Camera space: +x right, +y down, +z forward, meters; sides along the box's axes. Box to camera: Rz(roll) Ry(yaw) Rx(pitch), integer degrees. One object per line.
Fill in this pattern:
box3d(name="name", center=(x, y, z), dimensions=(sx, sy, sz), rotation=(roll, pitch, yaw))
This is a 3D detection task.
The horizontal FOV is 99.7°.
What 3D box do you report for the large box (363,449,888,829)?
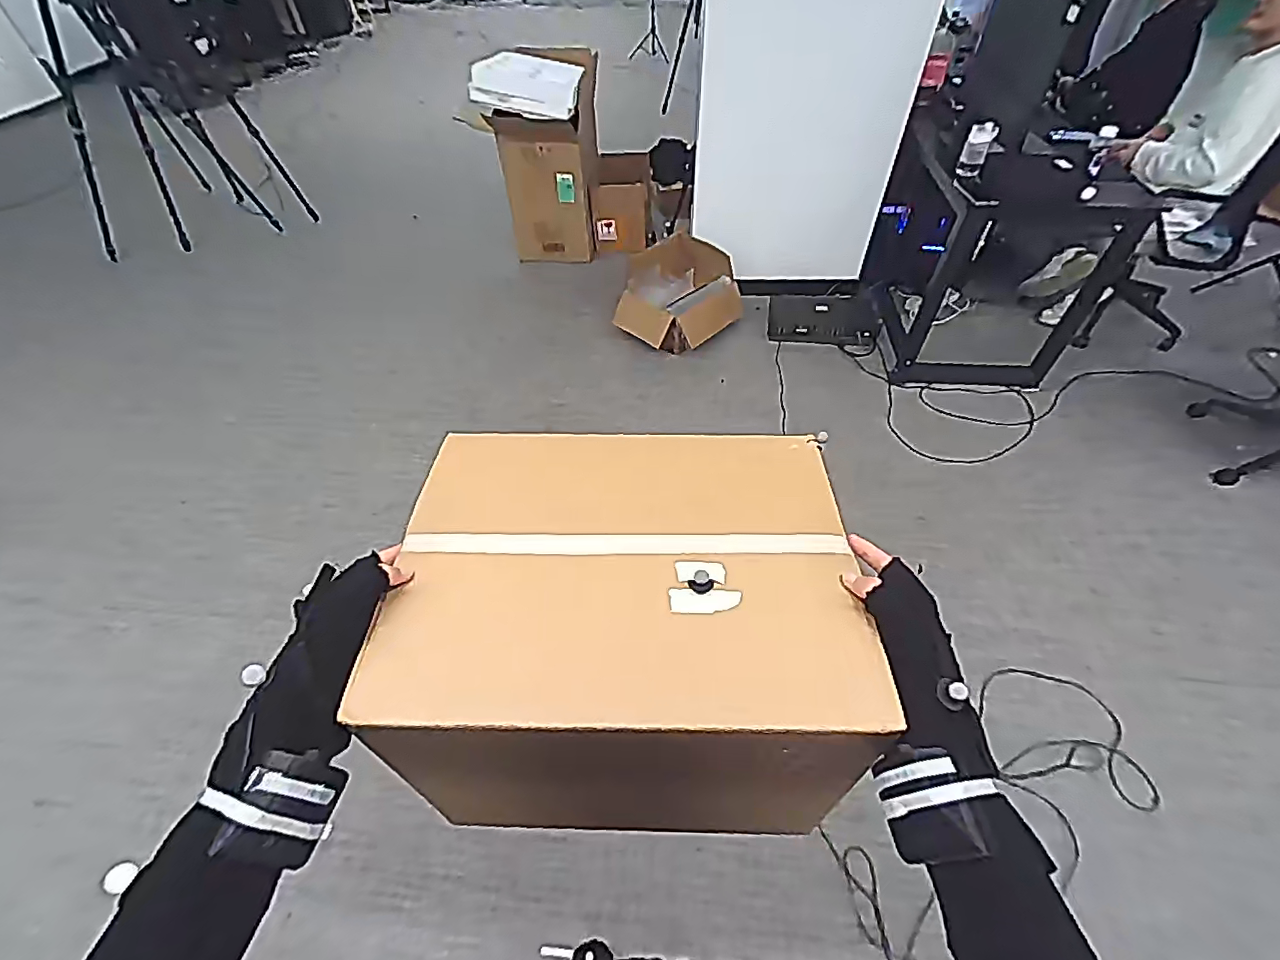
box3d(name="large box", center=(-0.011, 0.178, 0.611), dimensions=(0.408, 0.320, 0.320), rotation=(1, 45, 1))
